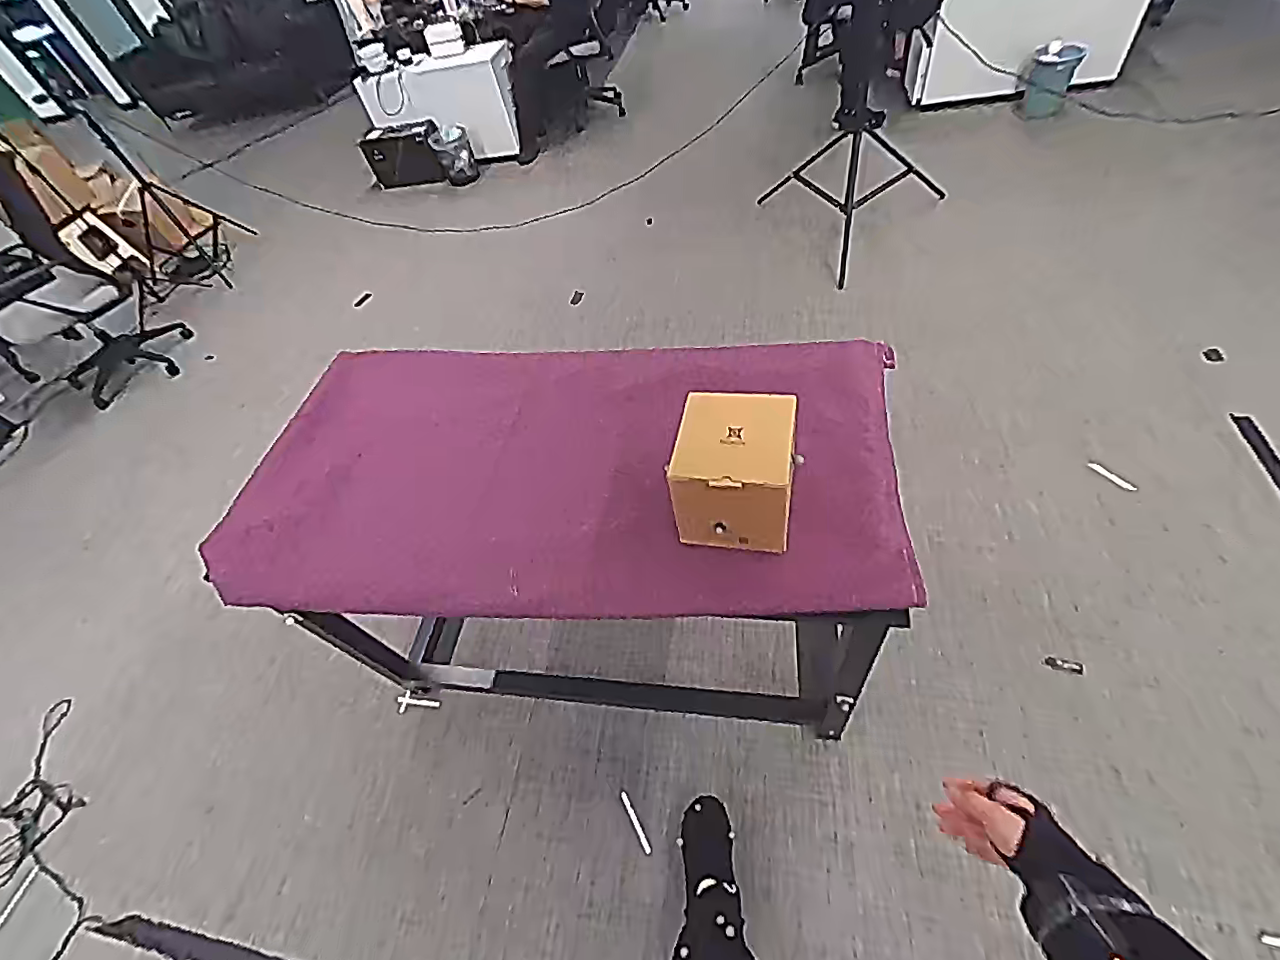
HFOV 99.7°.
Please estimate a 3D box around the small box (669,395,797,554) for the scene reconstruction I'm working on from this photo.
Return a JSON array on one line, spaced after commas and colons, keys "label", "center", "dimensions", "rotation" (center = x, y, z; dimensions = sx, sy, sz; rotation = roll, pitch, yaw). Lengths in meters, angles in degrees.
[{"label": "small box", "center": [0.148, -0.009, 0.839], "dimensions": [0.168, 0.176, 0.179], "rotation": [4, 52, 16]}]
